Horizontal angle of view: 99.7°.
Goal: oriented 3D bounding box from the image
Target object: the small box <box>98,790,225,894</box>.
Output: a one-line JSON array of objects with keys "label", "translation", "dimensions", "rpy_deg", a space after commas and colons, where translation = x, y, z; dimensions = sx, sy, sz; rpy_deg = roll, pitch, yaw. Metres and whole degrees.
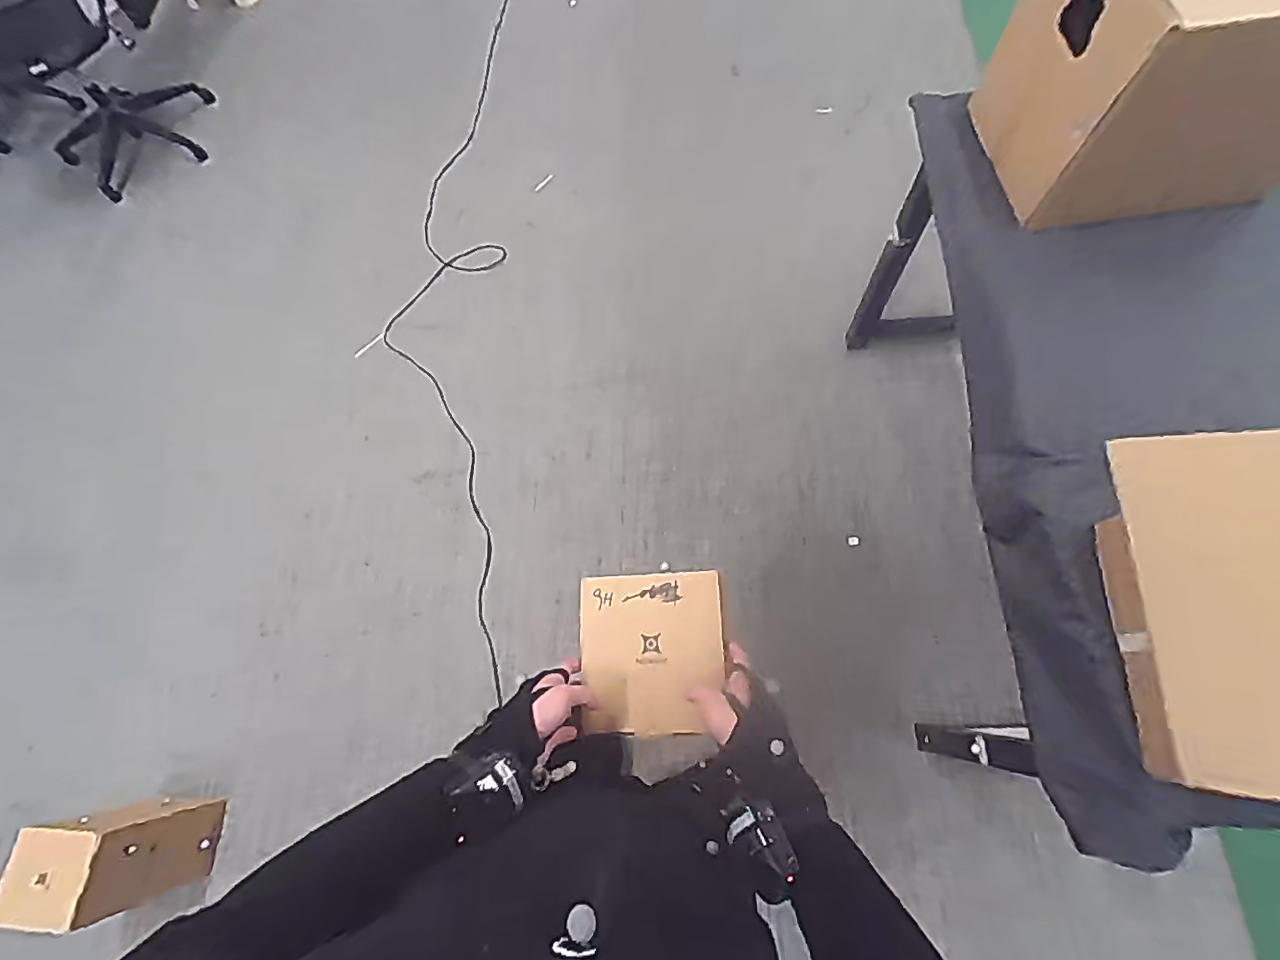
[{"label": "small box", "translation": [-1.139, 0.841, 1.271], "dimensions": [0.179, 0.176, 0.168], "rpy_deg": [-1, 71, 3]}]

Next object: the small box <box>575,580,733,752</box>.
[{"label": "small box", "translation": [0.024, 0.215, 0.666], "dimensions": [0.168, 0.176, 0.179], "rpy_deg": [-4, 78, 11]}]

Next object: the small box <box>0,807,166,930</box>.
[{"label": "small box", "translation": [-1.146, 0.790, 1.117], "dimensions": [0.179, 0.176, 0.168], "rpy_deg": [0, 70, 6]}]
